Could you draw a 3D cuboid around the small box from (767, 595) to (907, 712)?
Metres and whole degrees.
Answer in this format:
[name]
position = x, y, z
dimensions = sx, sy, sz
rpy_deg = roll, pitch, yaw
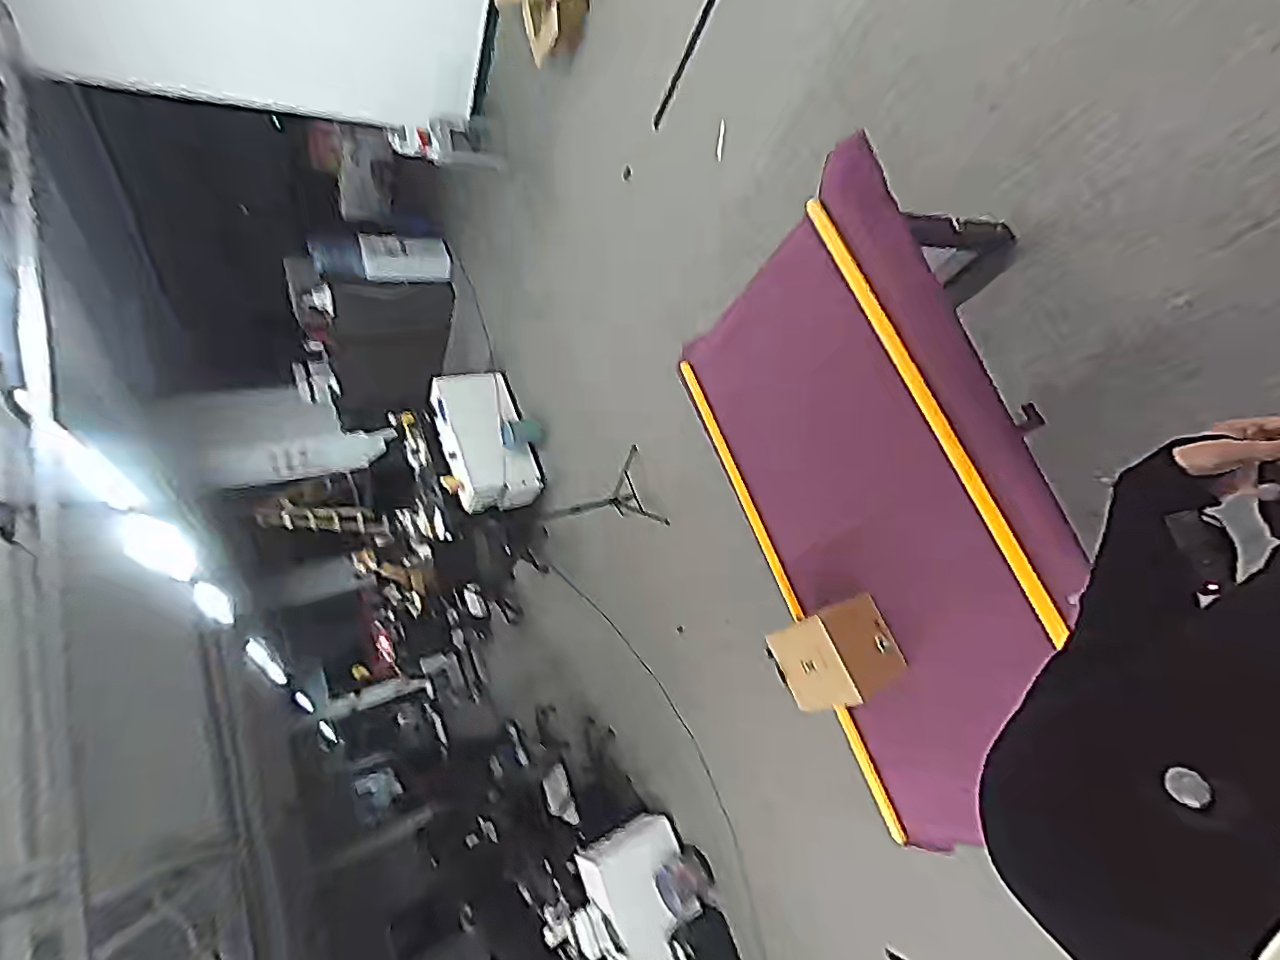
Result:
[small box]
position = 0.404, 0.357, 1.116
dimensions = 0.179, 0.176, 0.168
rpy_deg = -48, 61, 52
